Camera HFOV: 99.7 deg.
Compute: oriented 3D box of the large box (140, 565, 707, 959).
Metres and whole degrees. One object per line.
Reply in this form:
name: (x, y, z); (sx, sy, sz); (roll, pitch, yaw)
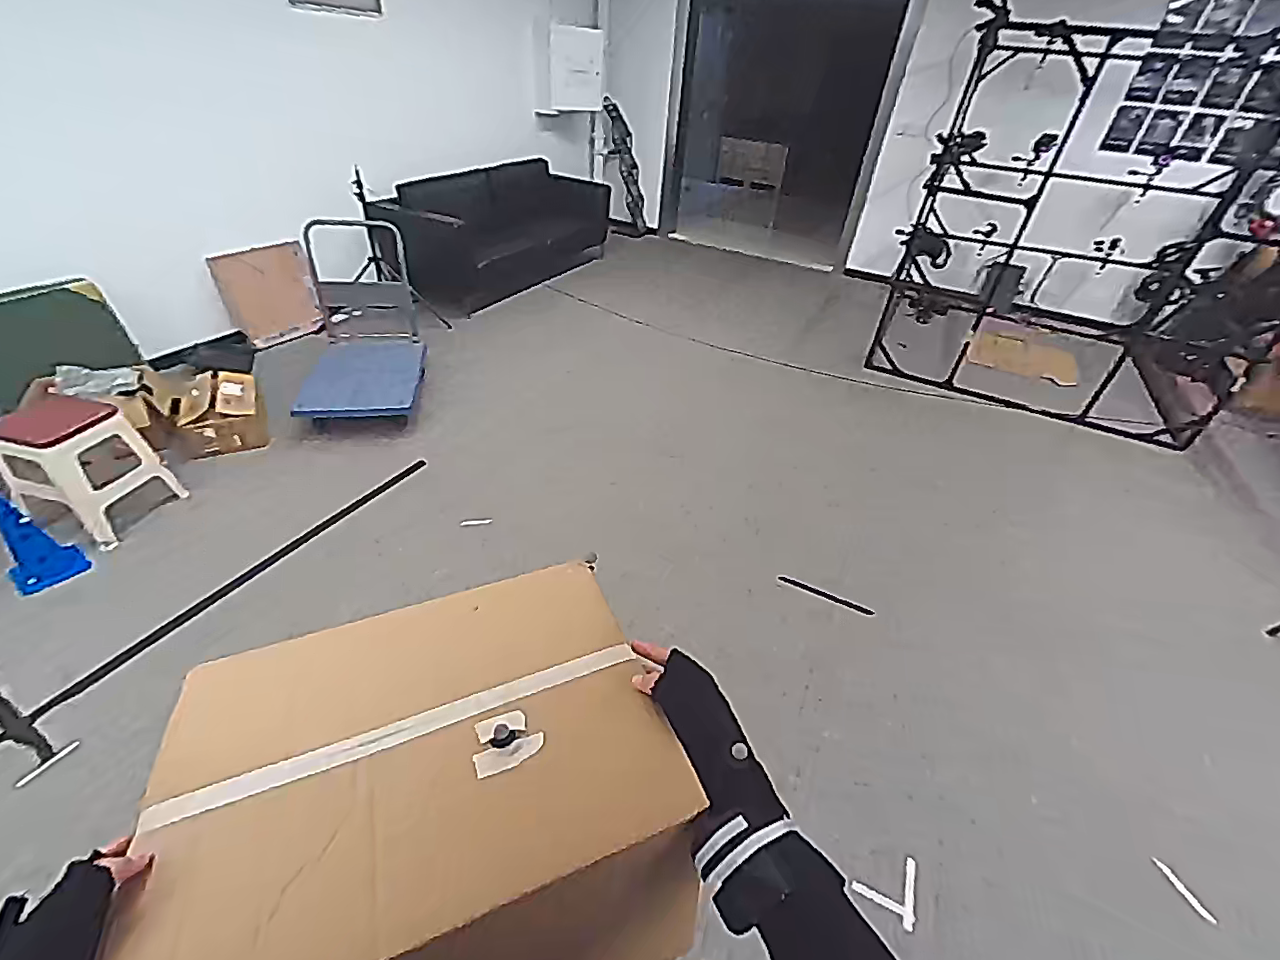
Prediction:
large box: (-0.182, 0.349, 0.573); (0.408, 0.320, 0.320); (-13, 35, -18)
